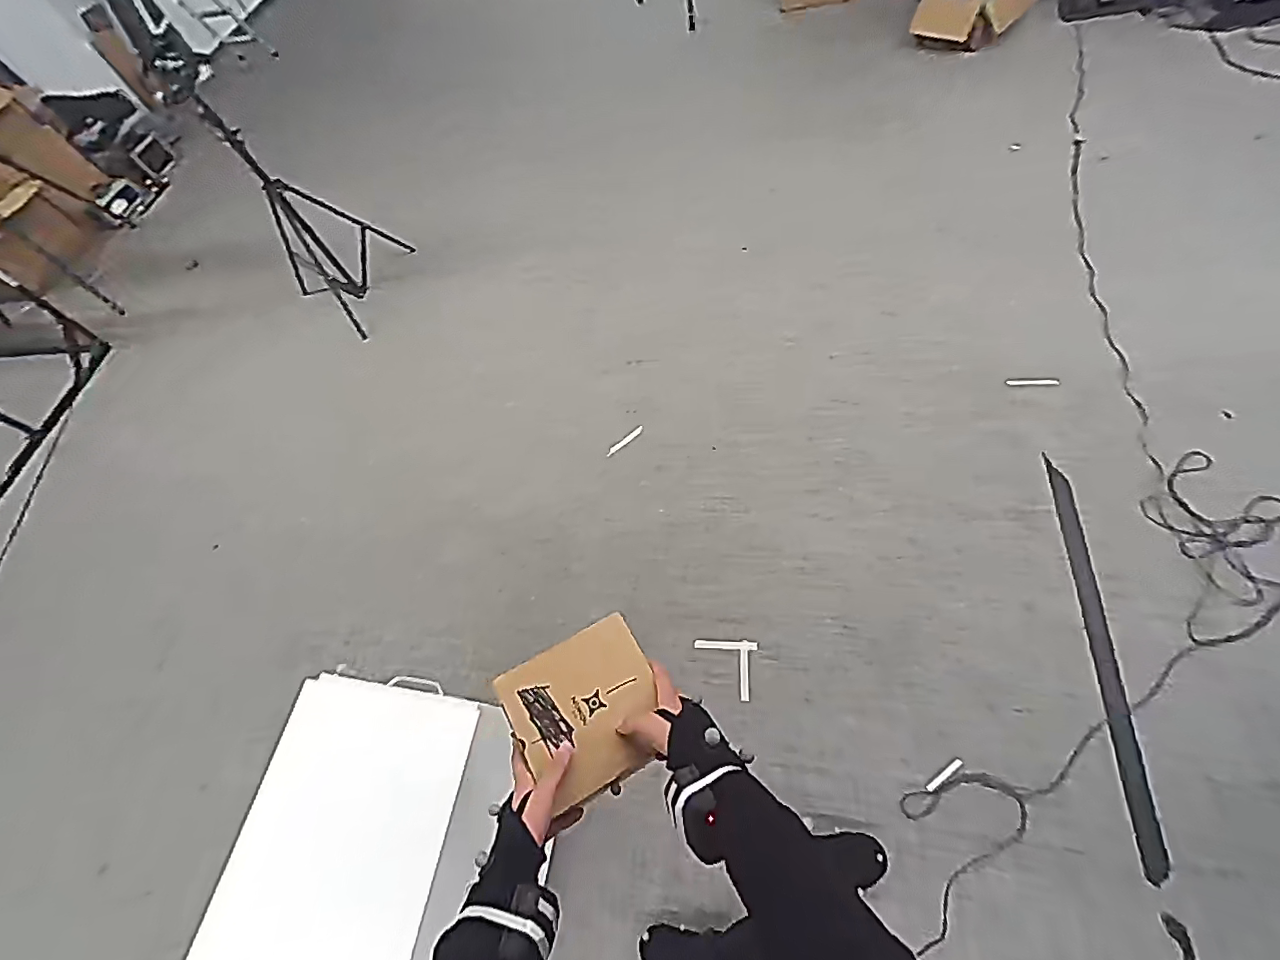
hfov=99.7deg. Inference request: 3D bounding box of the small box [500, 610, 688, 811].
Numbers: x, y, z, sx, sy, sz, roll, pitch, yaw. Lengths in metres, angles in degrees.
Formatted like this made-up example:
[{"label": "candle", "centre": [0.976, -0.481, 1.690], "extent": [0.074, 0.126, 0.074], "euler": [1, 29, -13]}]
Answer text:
[{"label": "small box", "centre": [-0.057, 0.302, 0.703], "extent": [0.179, 0.176, 0.168], "euler": [-25, 64, -16]}]
